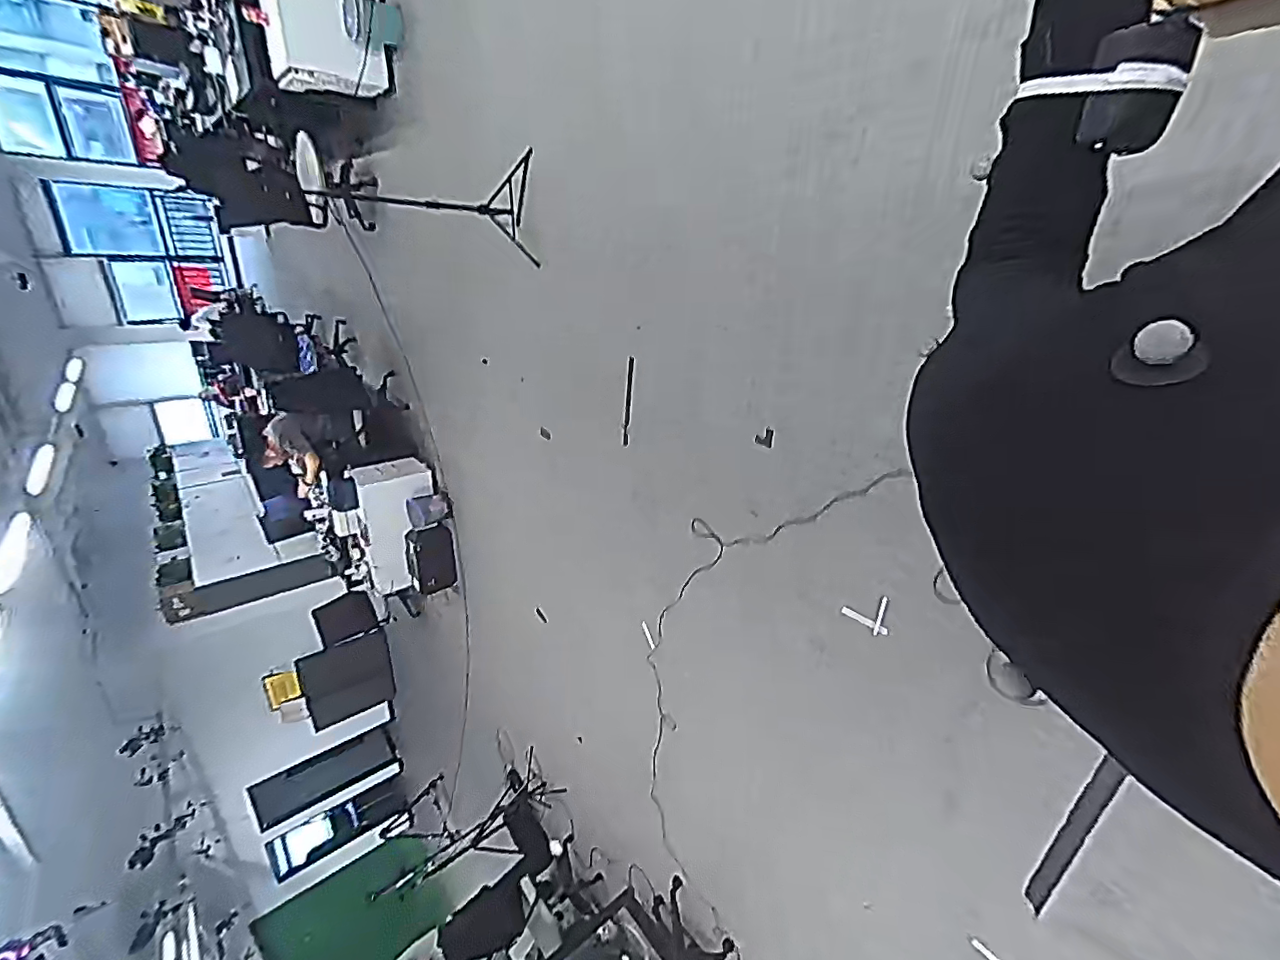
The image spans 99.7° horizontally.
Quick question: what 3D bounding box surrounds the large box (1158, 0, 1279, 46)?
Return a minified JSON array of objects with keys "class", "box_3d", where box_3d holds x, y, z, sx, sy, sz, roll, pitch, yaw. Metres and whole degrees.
[{"class":"large box","box_3d":[0.539,-0.434,0.223,0.408,0.320,0.320,19,129,42]}]
